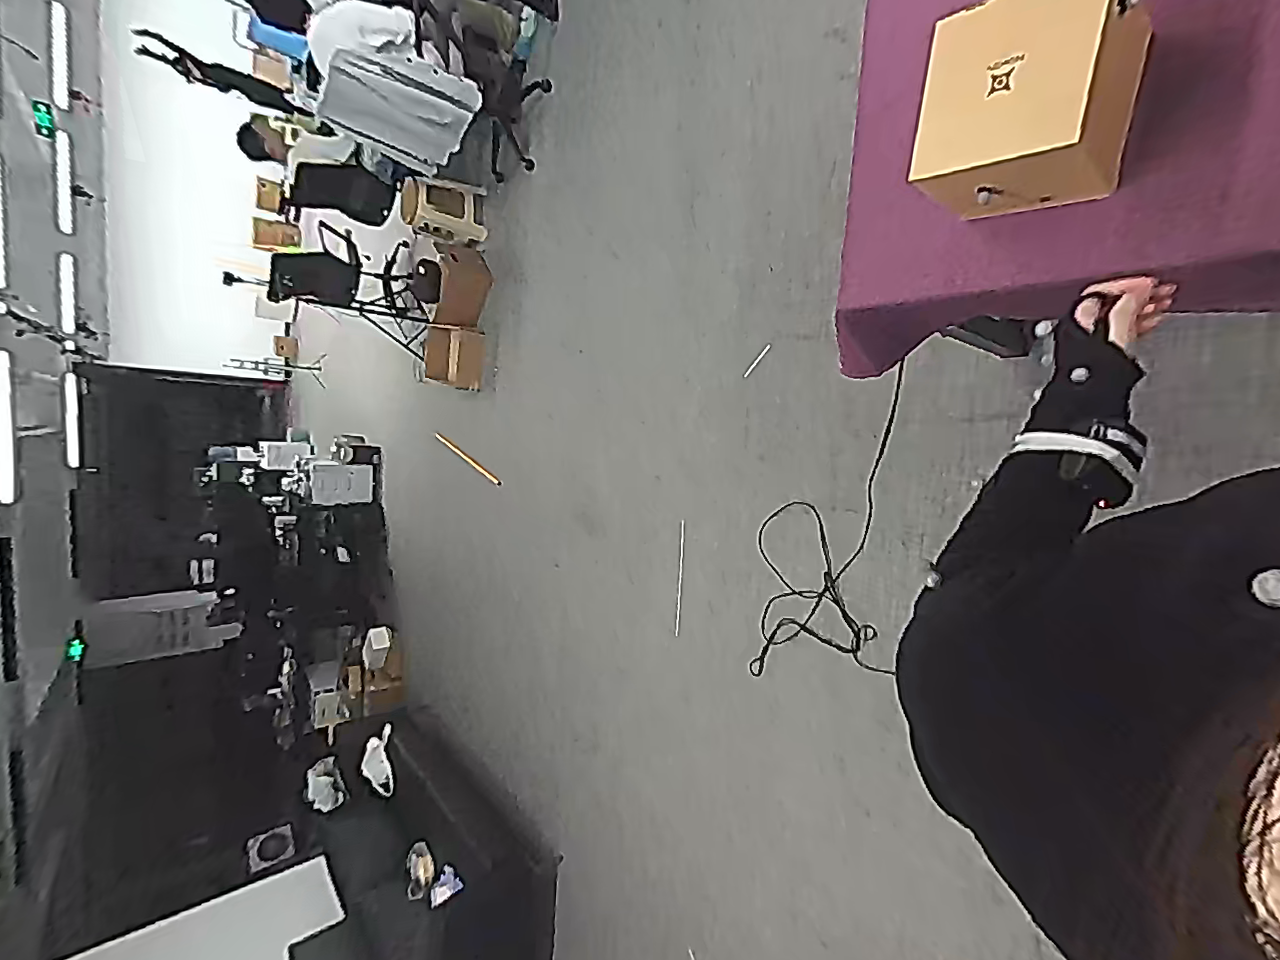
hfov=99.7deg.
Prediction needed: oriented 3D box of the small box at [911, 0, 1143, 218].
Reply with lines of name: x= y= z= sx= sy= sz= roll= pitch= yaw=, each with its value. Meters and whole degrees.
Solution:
small box: x=0.449 y=-0.424 z=0.629 sx=0.168 sy=0.176 sz=0.179 roll=16 pitch=101 yaw=49
